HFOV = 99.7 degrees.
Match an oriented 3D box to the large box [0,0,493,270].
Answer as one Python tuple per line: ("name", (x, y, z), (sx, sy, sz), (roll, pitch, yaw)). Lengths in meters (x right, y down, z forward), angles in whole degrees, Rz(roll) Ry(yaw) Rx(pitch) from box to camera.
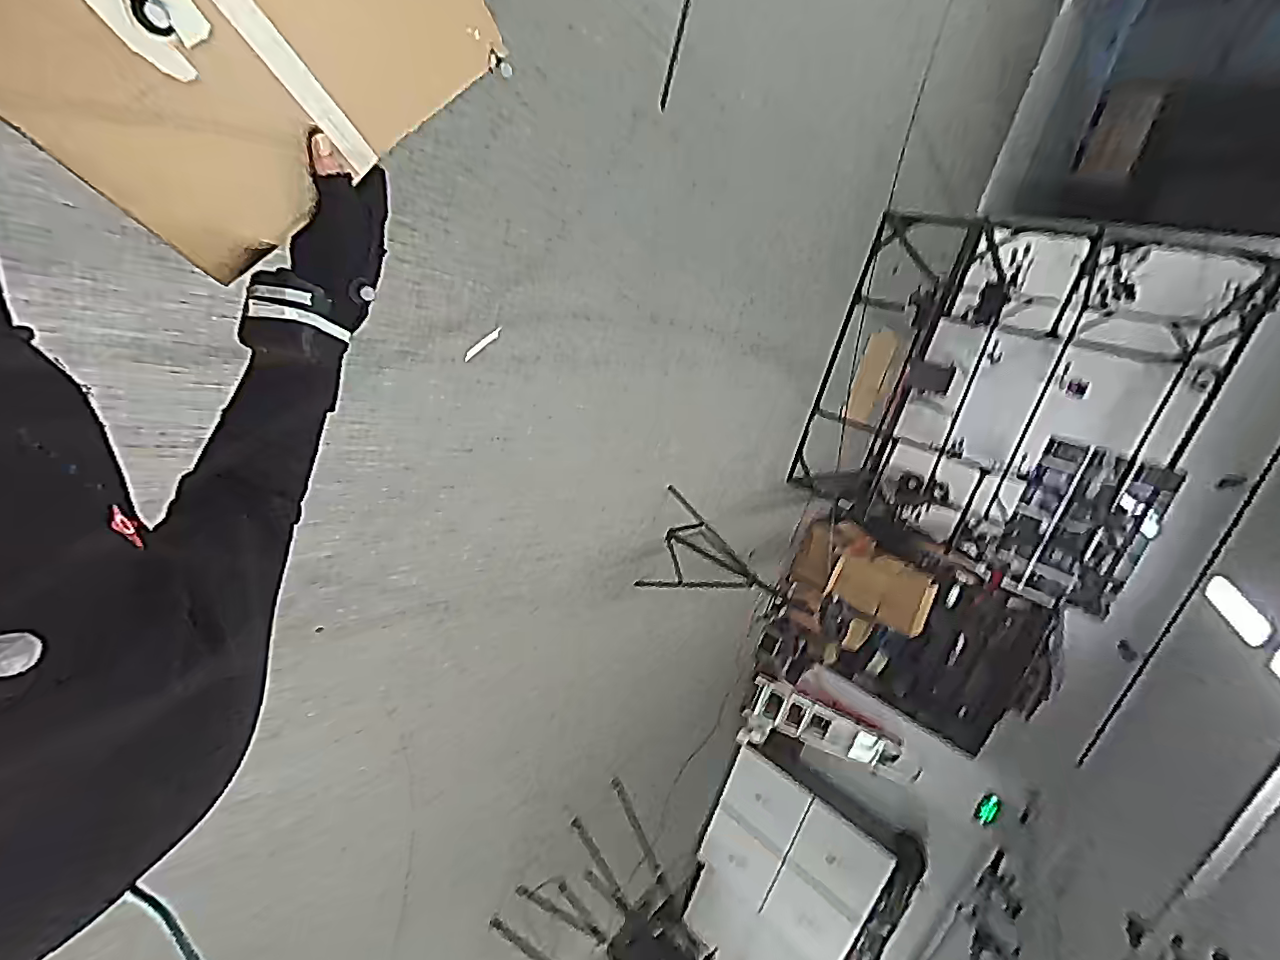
("large box", (-0.392, -0.446, 0.371), (0.320, 0.320, 0.408), (-42, 148, -3))
